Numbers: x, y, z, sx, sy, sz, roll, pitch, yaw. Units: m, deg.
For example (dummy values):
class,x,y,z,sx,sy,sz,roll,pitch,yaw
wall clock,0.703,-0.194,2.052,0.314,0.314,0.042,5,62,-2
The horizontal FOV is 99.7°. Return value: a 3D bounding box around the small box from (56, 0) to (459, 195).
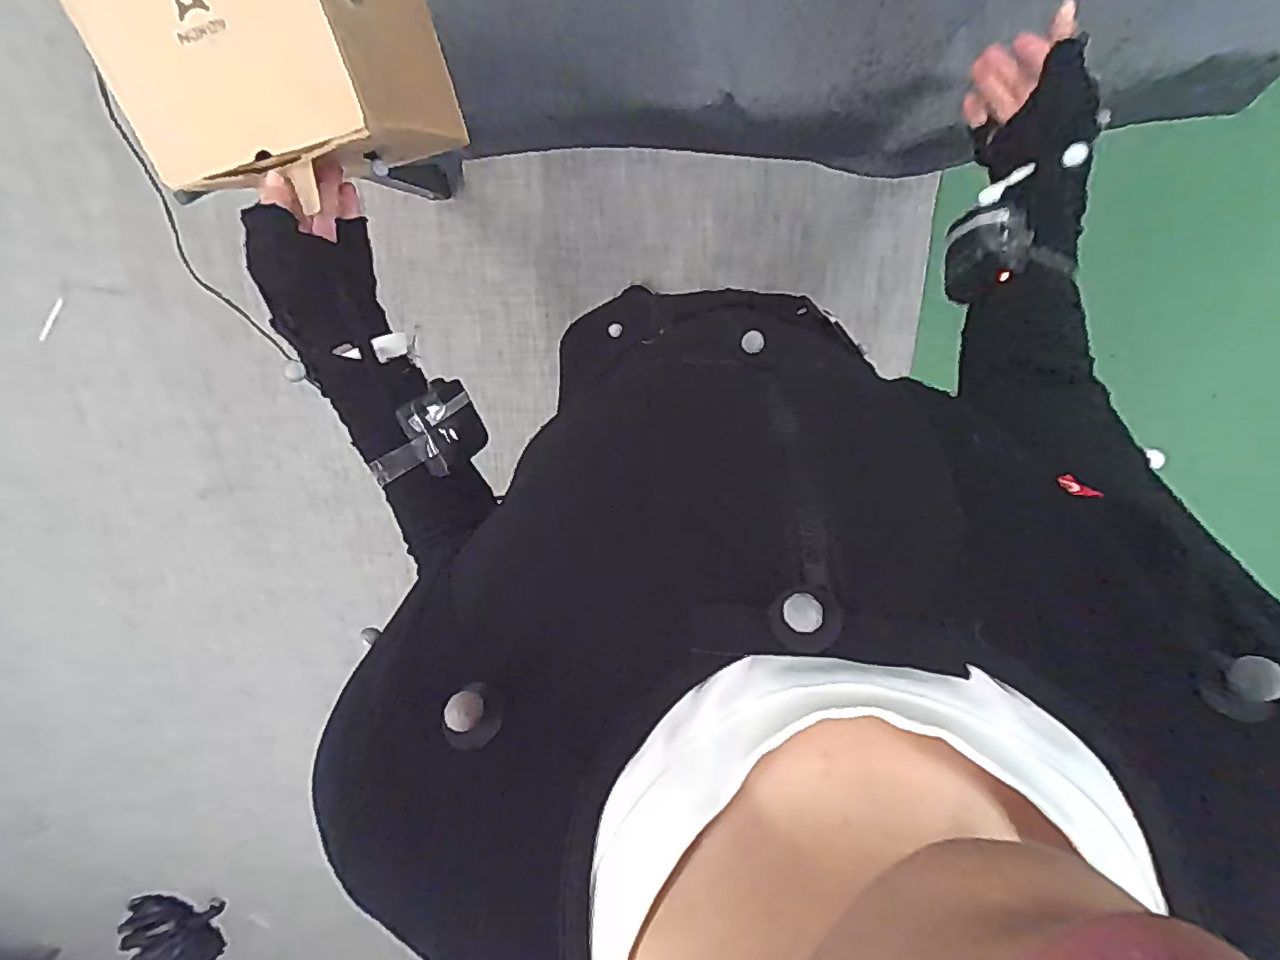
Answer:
class,x,y,z,sx,sy,sz,roll,pitch,yaw
small box,-0.258,-0.322,0.388,0.168,0.176,0.179,-9,117,12
